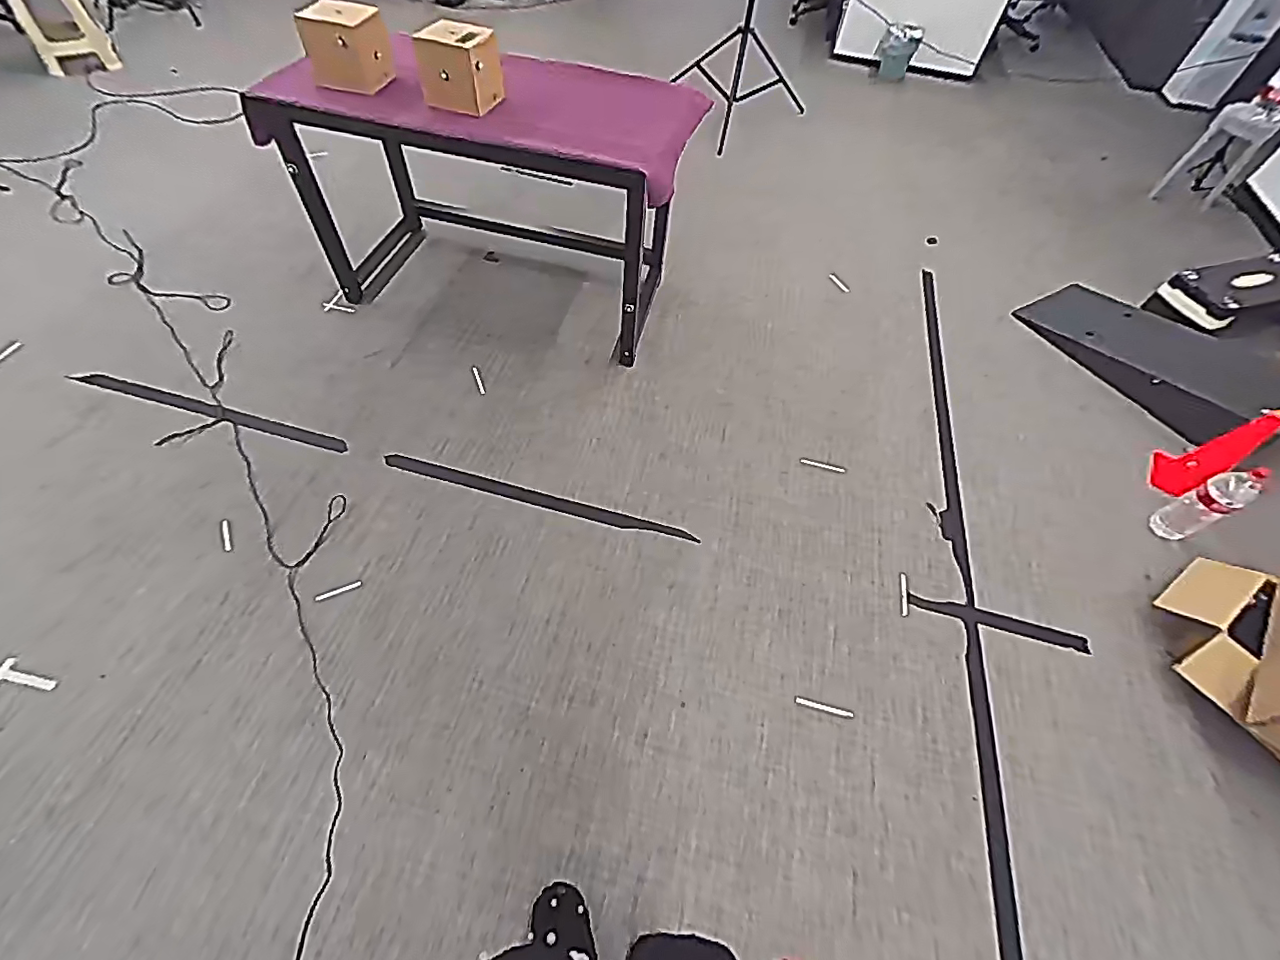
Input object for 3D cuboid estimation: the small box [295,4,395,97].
[{"bbox_3d":[-0.851,-1.252,1.583,0.179,0.176,0.168,11,54,3],"label":"small box"}]
